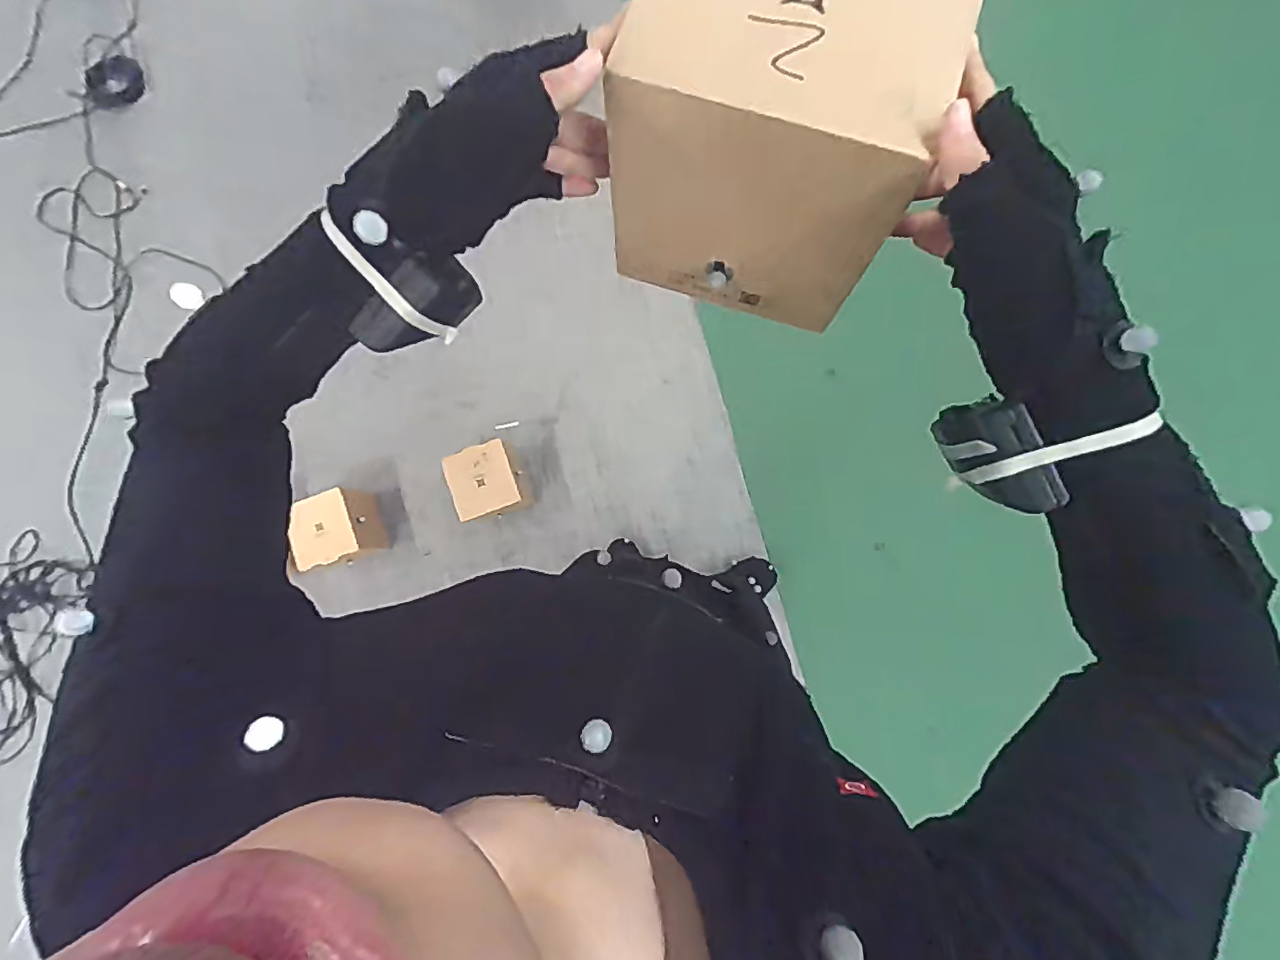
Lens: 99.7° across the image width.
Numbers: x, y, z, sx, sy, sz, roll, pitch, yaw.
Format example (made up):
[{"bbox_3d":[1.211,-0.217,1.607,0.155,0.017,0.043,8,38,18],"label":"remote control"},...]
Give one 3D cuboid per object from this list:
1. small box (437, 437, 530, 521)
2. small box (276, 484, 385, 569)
[{"bbox_3d":[-0.408,0.001,1.437,0.168,0.176,0.179,-20,85,-1],"label":"small box"},{"bbox_3d":[-0.817,0.125,1.442,0.168,0.176,0.179,-21,86,1],"label":"small box"}]
